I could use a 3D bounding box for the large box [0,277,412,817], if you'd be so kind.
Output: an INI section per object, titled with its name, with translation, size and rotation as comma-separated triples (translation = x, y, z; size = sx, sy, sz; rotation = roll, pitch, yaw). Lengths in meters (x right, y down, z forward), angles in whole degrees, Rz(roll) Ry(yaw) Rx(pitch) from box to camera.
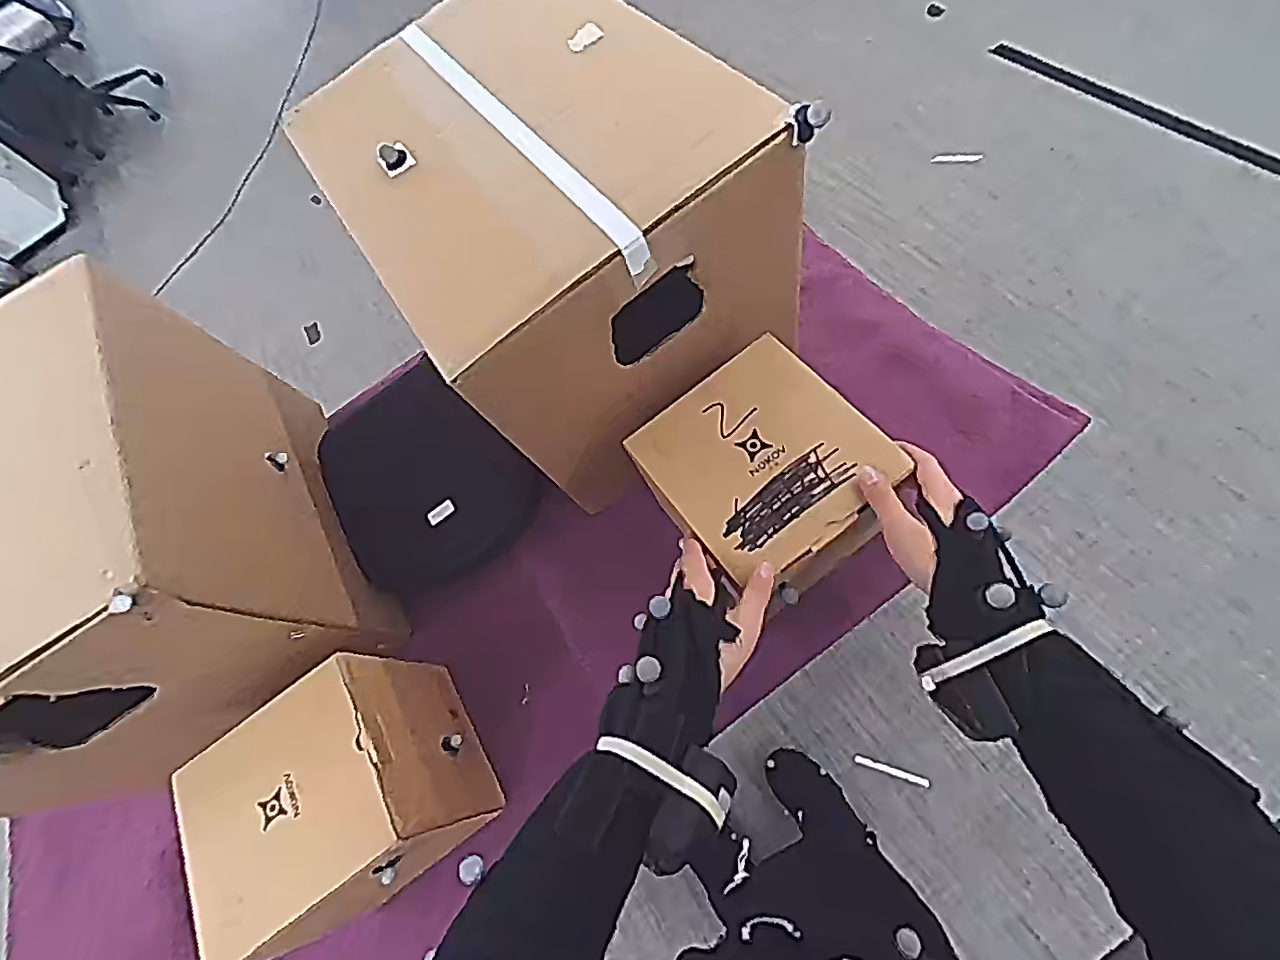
[large box]
translation = -0.530, 0.076, 0.592
size = 0.320, 0.320, 0.408
rotation = -36, 66, -1
